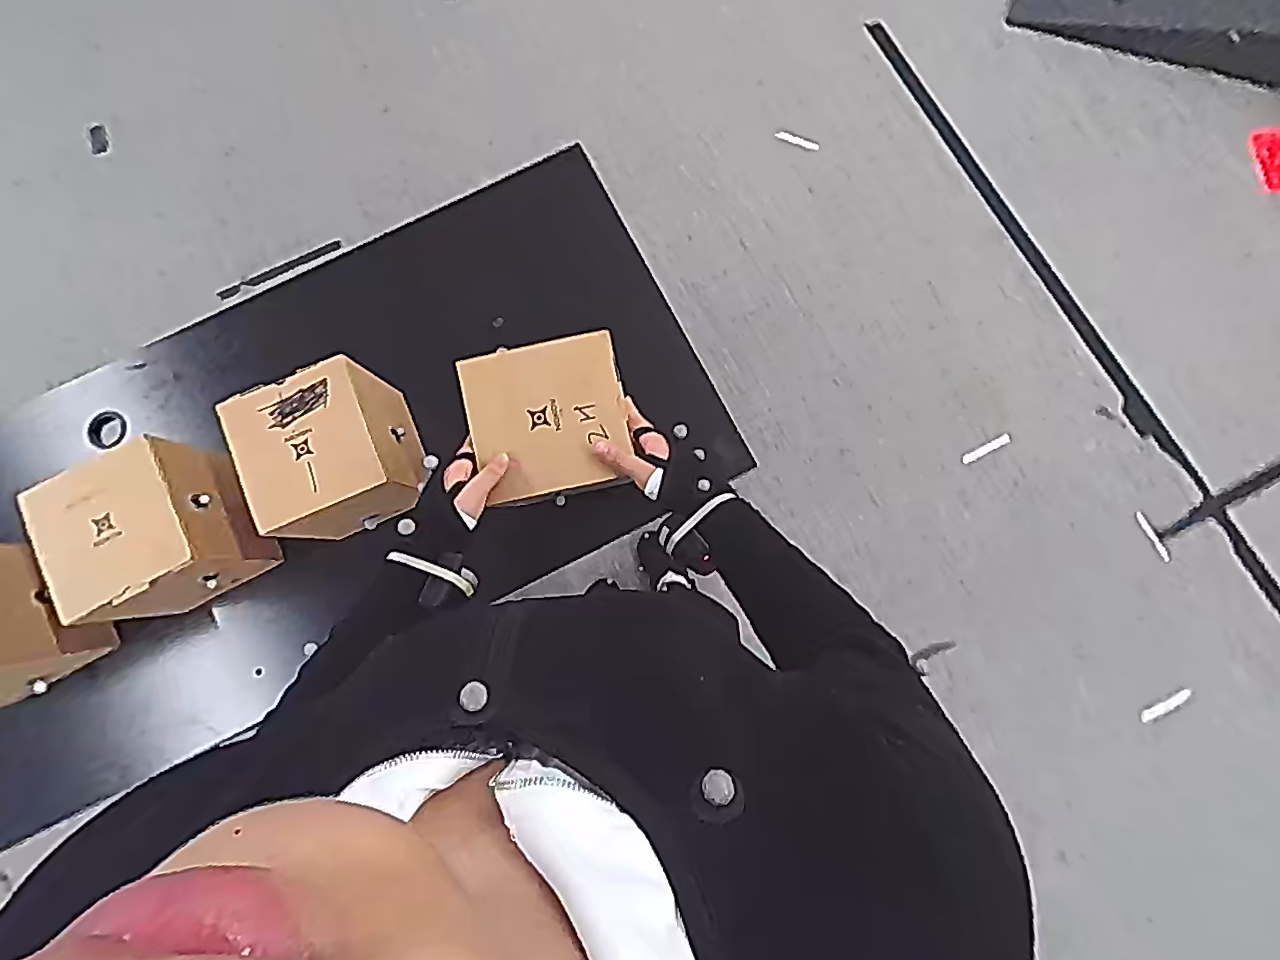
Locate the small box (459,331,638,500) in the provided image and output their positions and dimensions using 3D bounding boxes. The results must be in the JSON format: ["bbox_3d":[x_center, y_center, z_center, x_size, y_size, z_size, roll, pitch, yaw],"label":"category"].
[{"bbox_3d":[-0.101,-0.068,0.673,0.179,0.176,0.168,-11,89,-1],"label":"small box"}]

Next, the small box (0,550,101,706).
[{"bbox_3d":[-0.861,0.196,0.695,0.179,0.176,0.168,-29,82,-5],"label":"small box"}]

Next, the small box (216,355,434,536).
[{"bbox_3d":[-0.406,-0.035,0.725,0.168,0.176,0.179,-23,83,-3],"label":"small box"}]

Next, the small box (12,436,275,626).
[{"bbox_3d":[-0.633,0.068,0.714,0.168,0.176,0.179,-28,82,-4],"label":"small box"}]
